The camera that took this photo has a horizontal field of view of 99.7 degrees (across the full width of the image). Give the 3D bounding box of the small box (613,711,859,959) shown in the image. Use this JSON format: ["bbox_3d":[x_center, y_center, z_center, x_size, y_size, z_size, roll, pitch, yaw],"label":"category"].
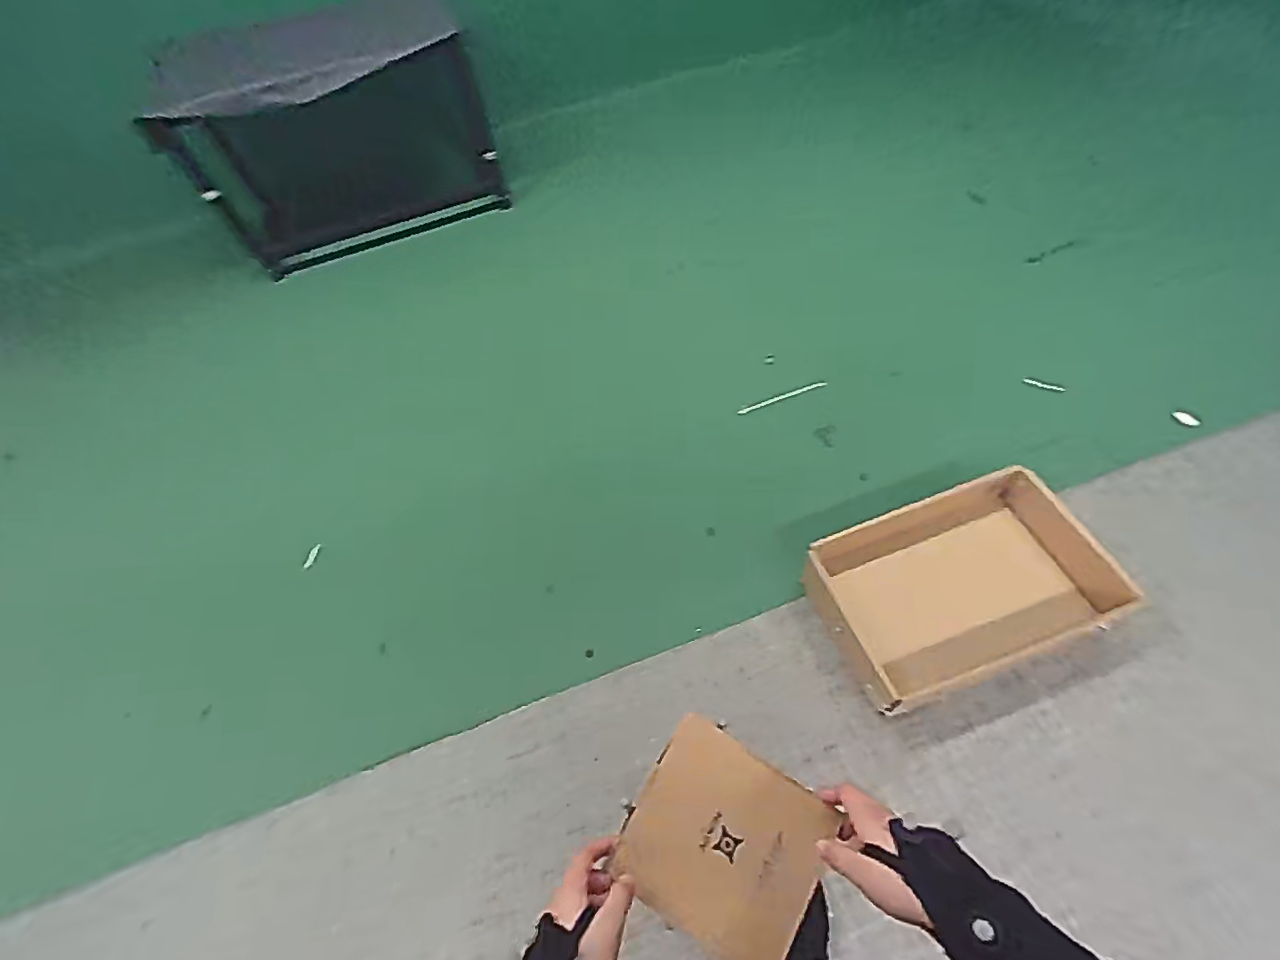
[{"bbox_3d":[0.093,0.368,0.571,0.179,0.176,0.168,29,73,14],"label":"small box"}]
